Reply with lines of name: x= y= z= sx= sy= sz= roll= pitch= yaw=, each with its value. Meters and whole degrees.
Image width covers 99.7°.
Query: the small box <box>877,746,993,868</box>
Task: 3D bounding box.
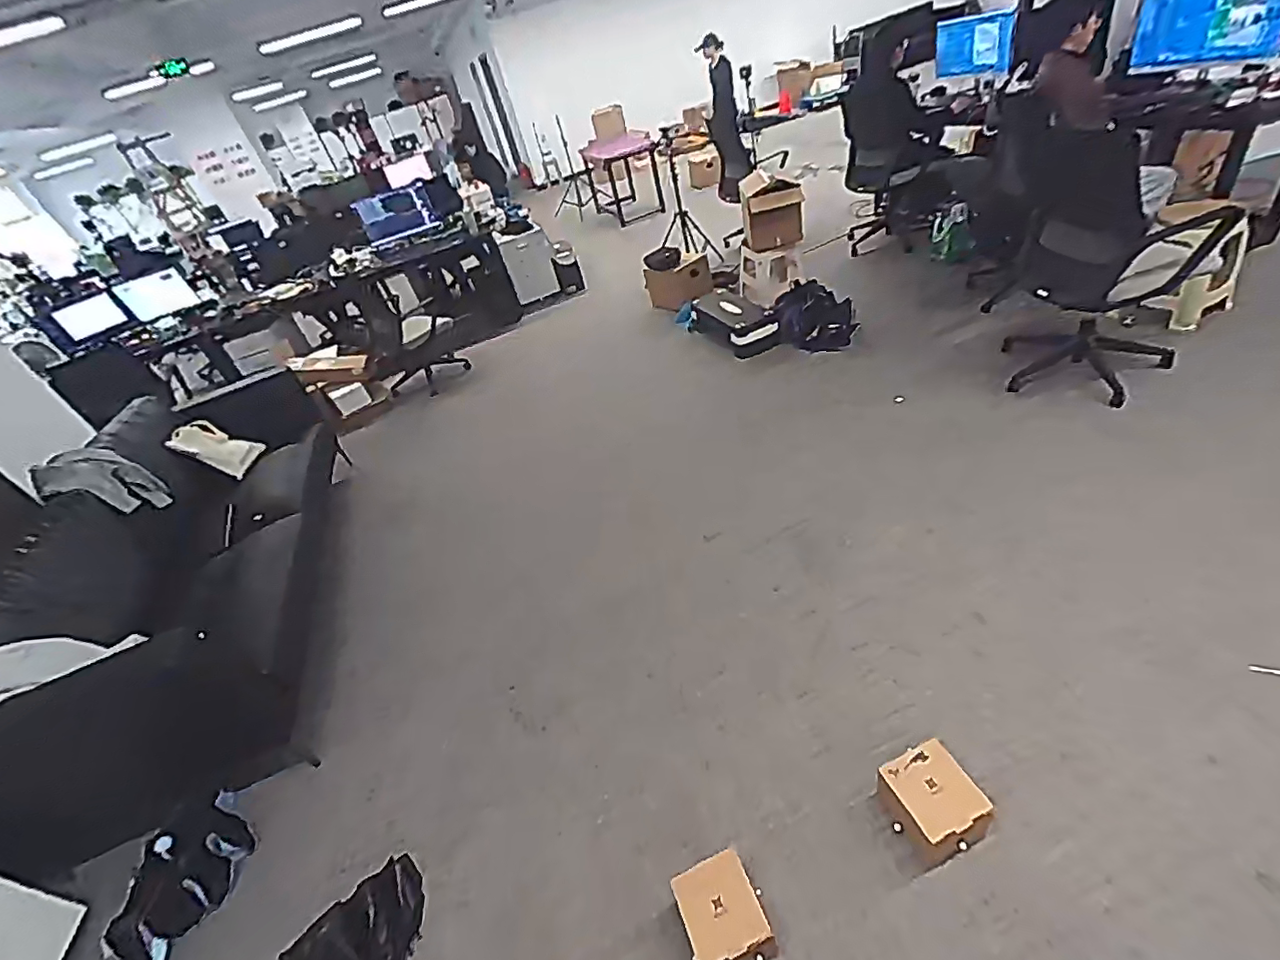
small box: x=0.686 y=0.777 z=1.273 sx=0.168 sy=0.176 sz=0.179 roll=-23 pitch=37 yaw=-7

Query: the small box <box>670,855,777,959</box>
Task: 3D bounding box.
small box: x=0.188 y=0.992 z=1.203 sx=0.168 sy=0.176 sz=0.179 roll=-23 pitch=35 yaw=-9
